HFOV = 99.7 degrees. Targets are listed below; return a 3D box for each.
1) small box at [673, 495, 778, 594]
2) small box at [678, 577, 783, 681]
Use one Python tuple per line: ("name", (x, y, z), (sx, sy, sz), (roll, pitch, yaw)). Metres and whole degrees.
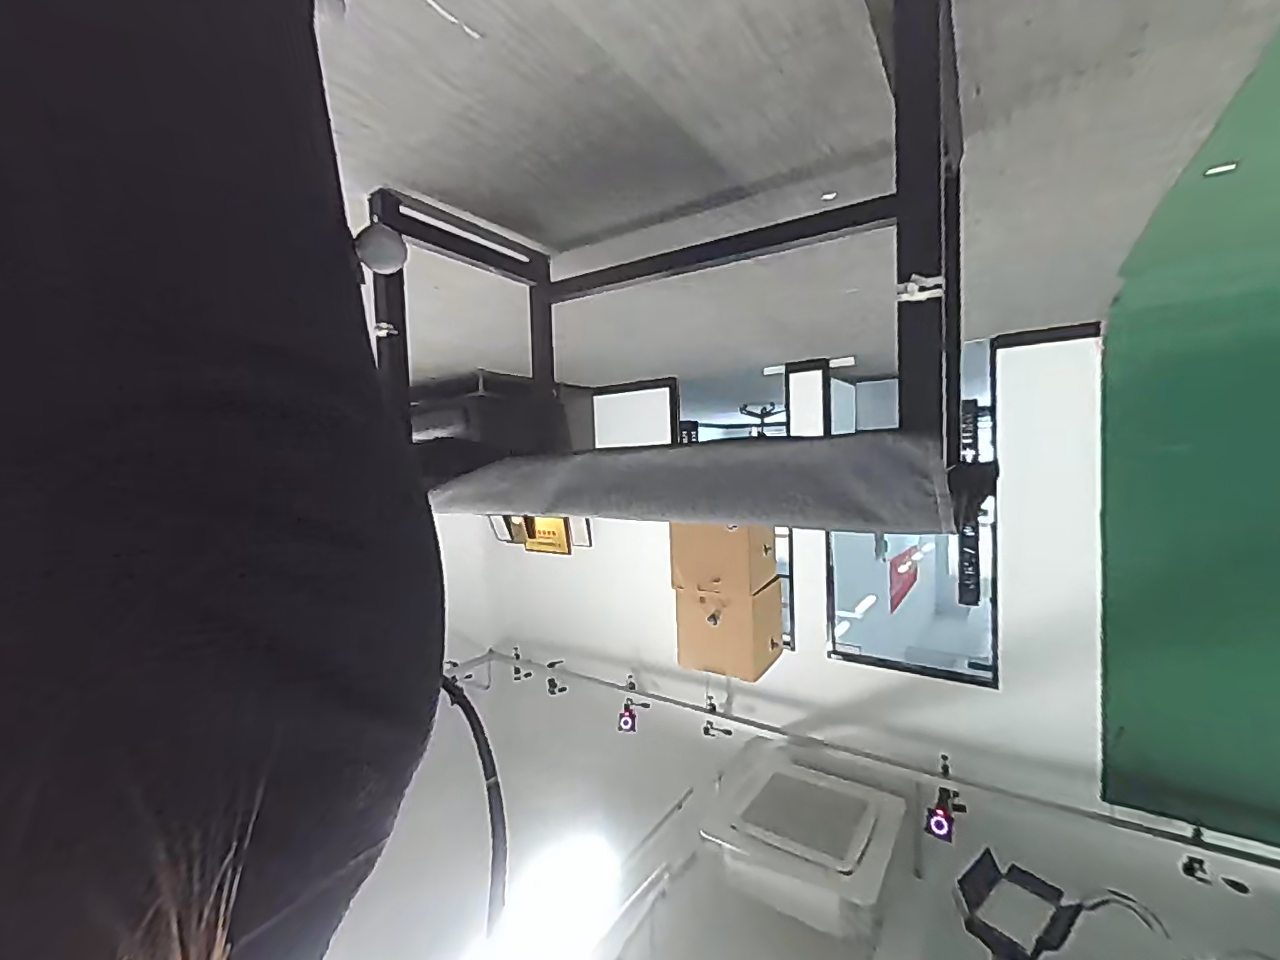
("small box", (0.174, 0.123, 1.094), (0.168, 0.176, 0.179), (0, -176, 30))
("small box", (0.190, 0.287, 1.114), (0.168, 0.176, 0.179), (-1, -177, 32))
